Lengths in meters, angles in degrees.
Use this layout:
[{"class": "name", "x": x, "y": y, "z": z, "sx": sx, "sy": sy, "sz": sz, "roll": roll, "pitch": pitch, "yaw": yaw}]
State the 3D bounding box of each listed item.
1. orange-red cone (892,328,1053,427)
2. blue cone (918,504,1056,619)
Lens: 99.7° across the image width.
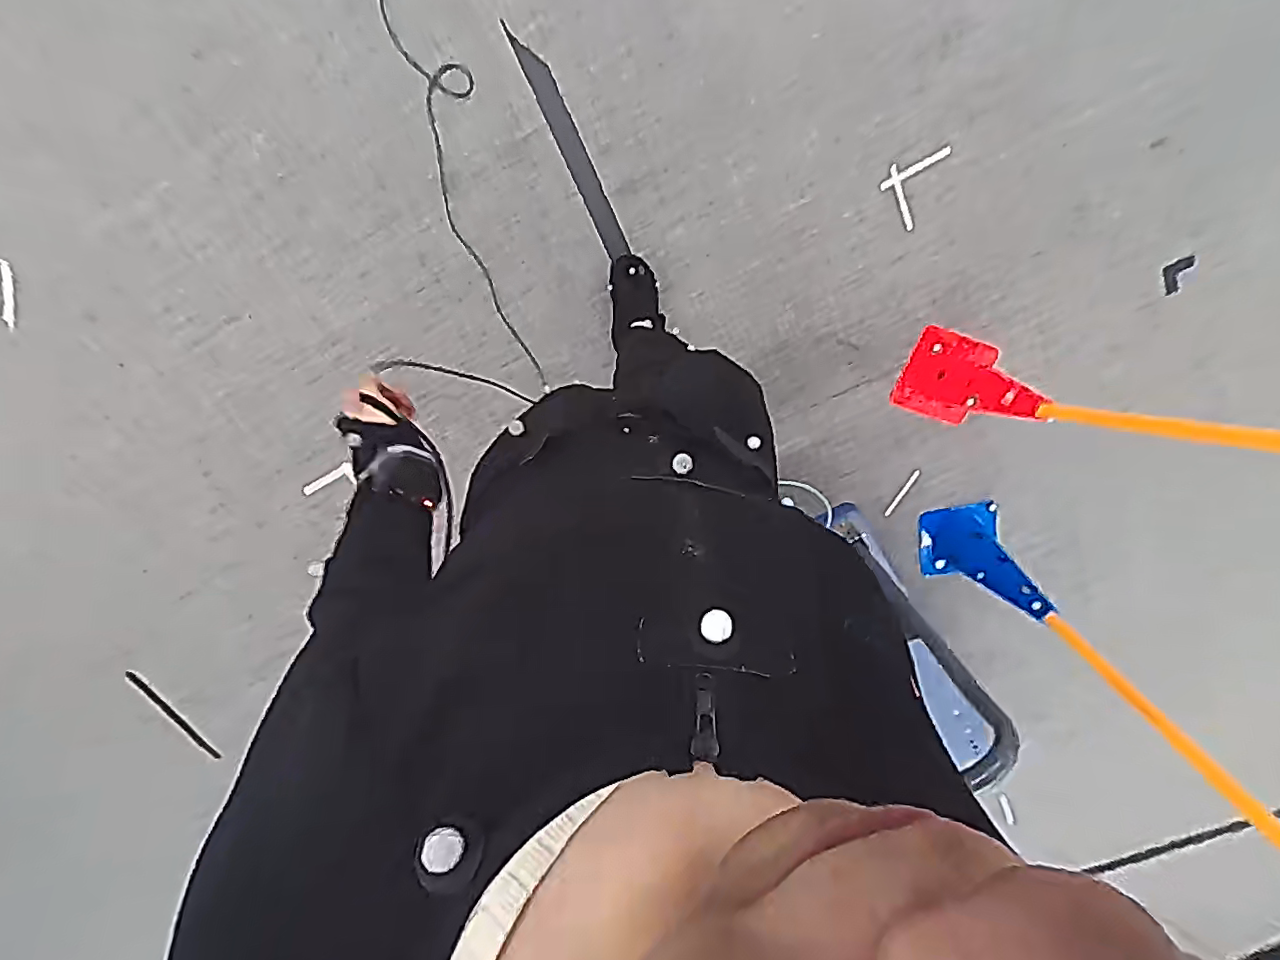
[{"class": "orange-red cone", "x": 0.722, "y": -0.178, "z": 1.125, "sx": 0.198, "sy": 0.360, "sz": 0.199, "roll": 19, "pitch": 110, "yaw": -6}, {"class": "blue cone", "x": 0.840, "y": 0.218, "z": 1.286, "sx": 0.193, "sy": 0.380, "sz": 0.192, "roll": -10, "pitch": 109, "yaw": 4}]
